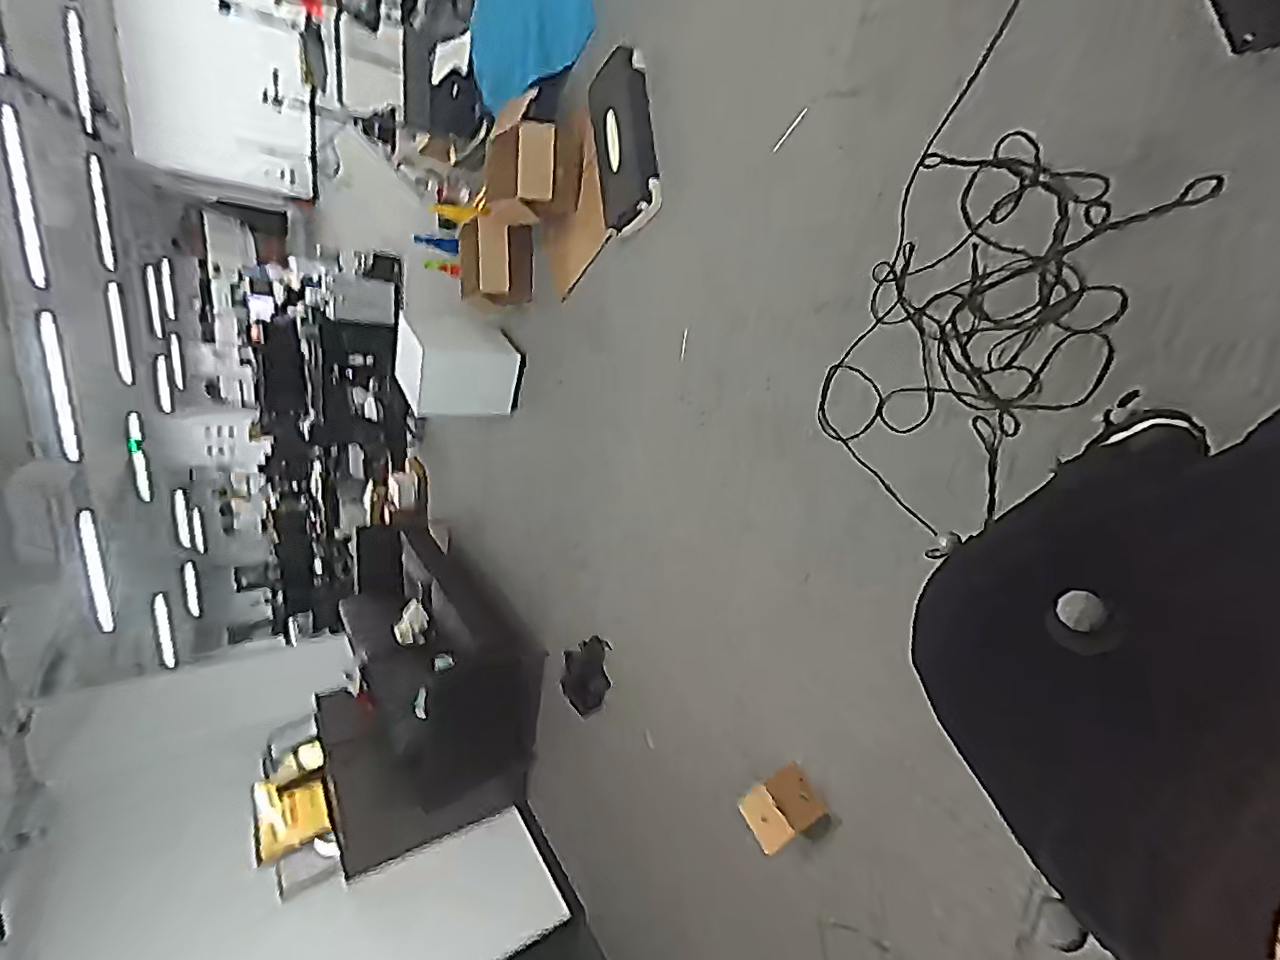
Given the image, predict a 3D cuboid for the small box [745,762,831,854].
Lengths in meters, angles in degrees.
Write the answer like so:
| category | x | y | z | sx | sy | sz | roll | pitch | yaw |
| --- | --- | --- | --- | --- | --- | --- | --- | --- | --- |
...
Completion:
| category | x | y | z | sx | sy | sz | roll | pitch | yaw |
| --- | --- | --- | --- | --- | --- | --- | --- | --- | --- |
| small box | 0.474 | 1.043 | 1.727 | 0.168 | 0.176 | 0.179 | 52 | 133 | 38 |
